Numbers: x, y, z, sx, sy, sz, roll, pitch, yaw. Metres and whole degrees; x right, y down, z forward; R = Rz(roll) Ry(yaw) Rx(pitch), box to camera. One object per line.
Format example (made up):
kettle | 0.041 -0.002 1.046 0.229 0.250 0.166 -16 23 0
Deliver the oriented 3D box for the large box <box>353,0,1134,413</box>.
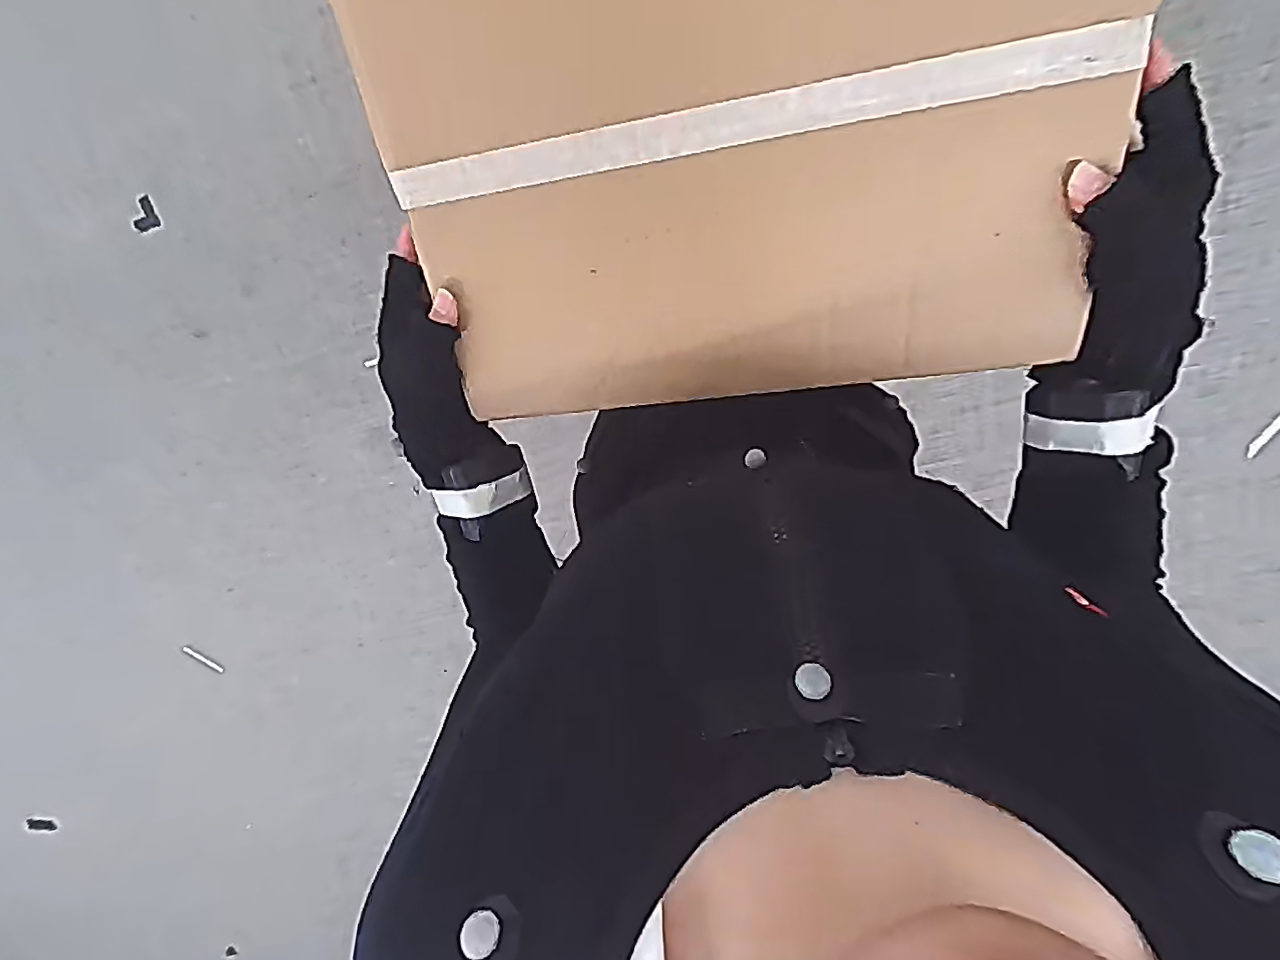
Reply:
large box | 0.066 -0.272 0.438 0.408 0.320 0.320 -4 120 11
